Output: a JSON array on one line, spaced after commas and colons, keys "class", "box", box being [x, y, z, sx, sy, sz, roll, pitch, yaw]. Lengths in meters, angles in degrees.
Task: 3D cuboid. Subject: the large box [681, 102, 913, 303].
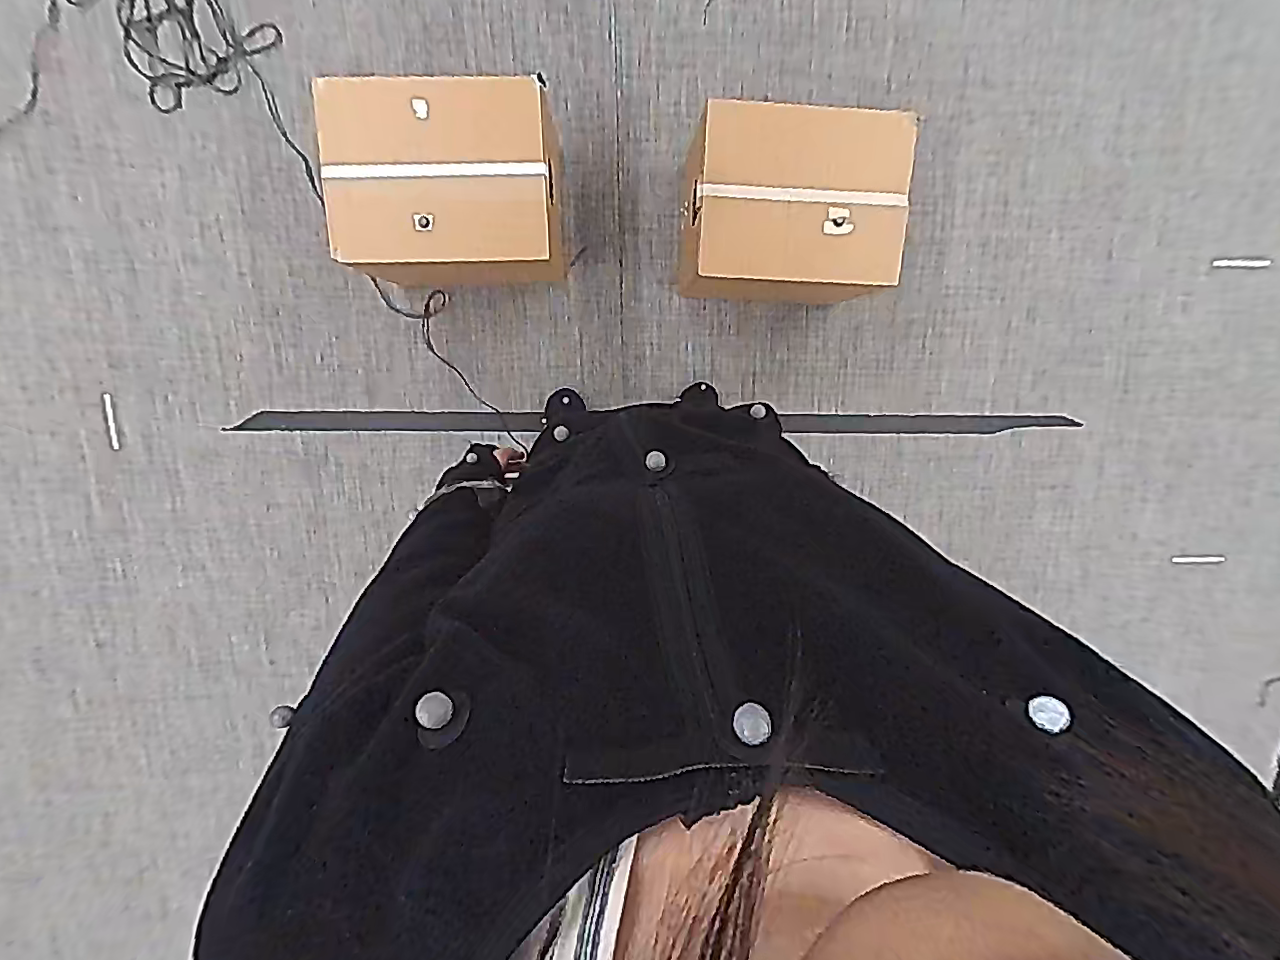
[{"class": "large box", "box": [0.310, -0.576, 1.189, 0.408, 0.320, 0.320, 2, 101, -4]}]
